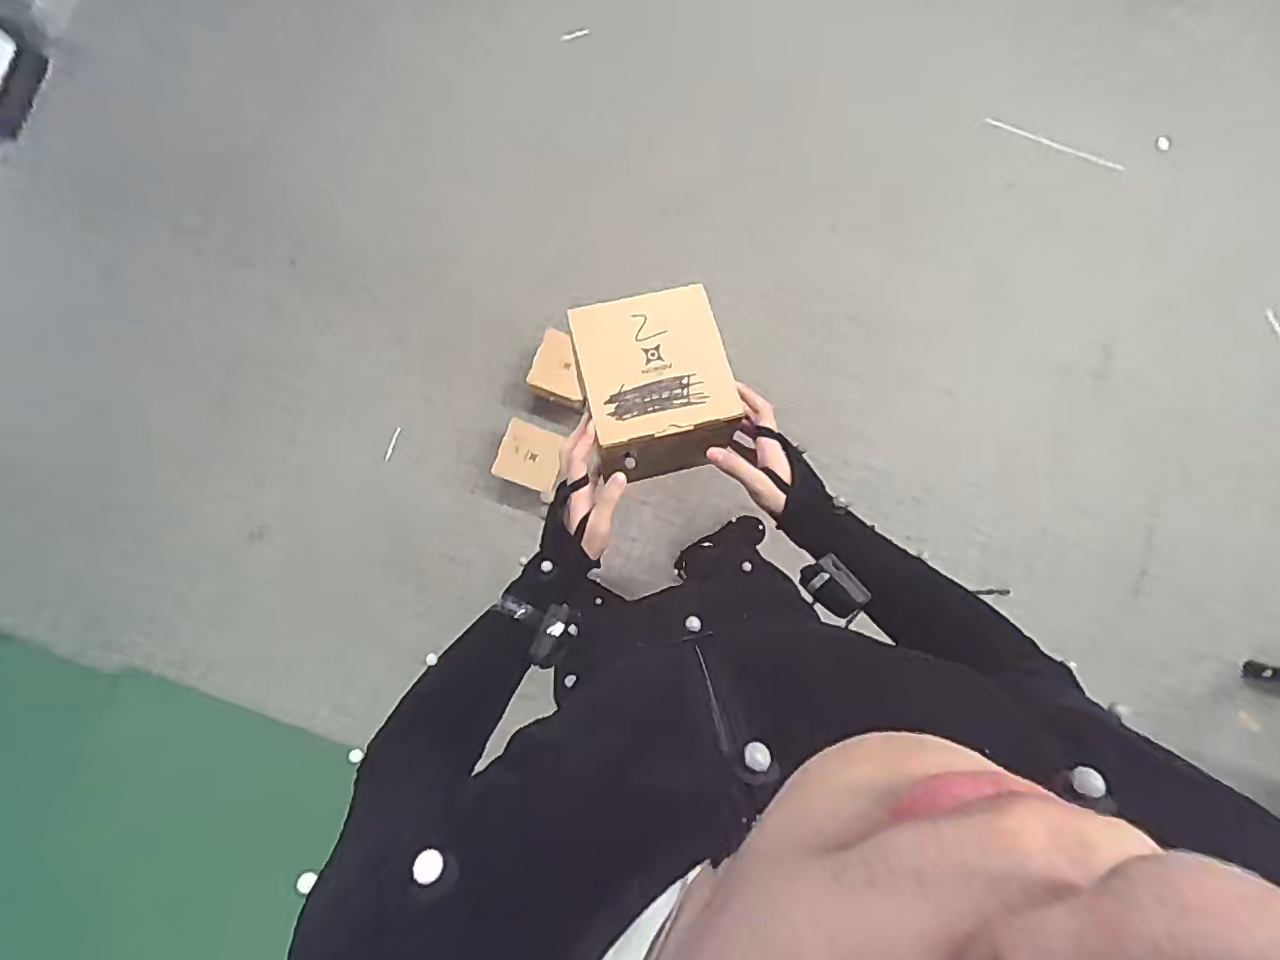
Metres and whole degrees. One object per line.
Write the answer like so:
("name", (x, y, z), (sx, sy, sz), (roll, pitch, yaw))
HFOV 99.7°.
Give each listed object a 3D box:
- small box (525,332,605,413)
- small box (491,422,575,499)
("small box", (-0.209, -0.302, 1.570), (0.179, 0.176, 0.168), (20, 86, 0))
("small box", (-0.298, -0.051, 1.550), (0.179, 0.176, 0.168), (20, 86, 0))
